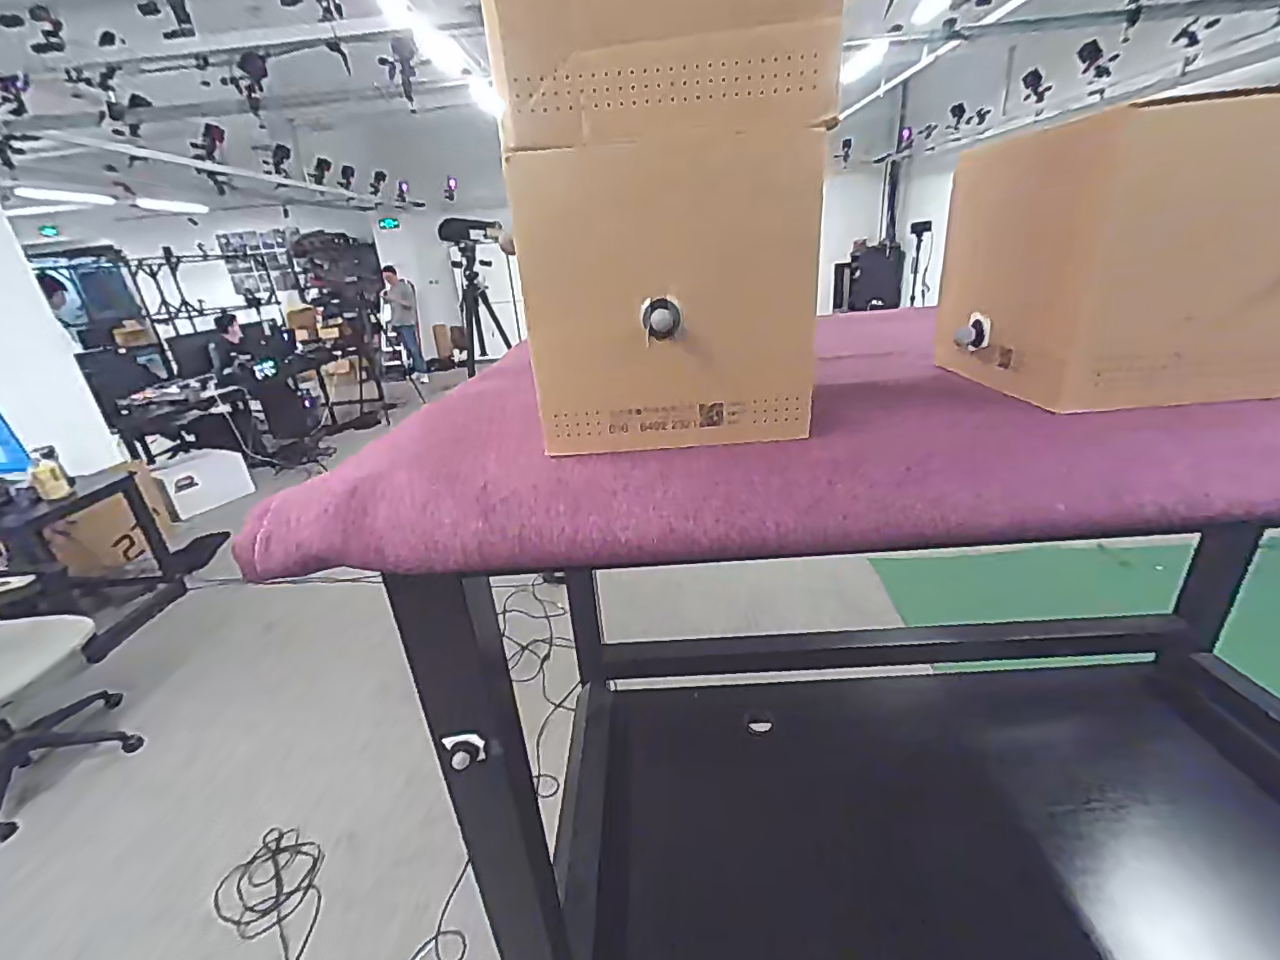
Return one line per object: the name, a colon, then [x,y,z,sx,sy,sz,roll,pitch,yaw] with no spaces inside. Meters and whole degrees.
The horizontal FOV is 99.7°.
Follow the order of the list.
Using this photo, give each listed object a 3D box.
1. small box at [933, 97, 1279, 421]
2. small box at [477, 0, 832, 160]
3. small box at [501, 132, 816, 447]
small box: [0.336,-0.148,0.377,0.179,0.176,0.168,-5,23,2]
small box: [0.005,-0.274,0.315,0.179,0.176,0.168,-4,24,0]
small box: [0.015,-0.126,0.380,0.168,0.176,0.179,-3,24,1]
